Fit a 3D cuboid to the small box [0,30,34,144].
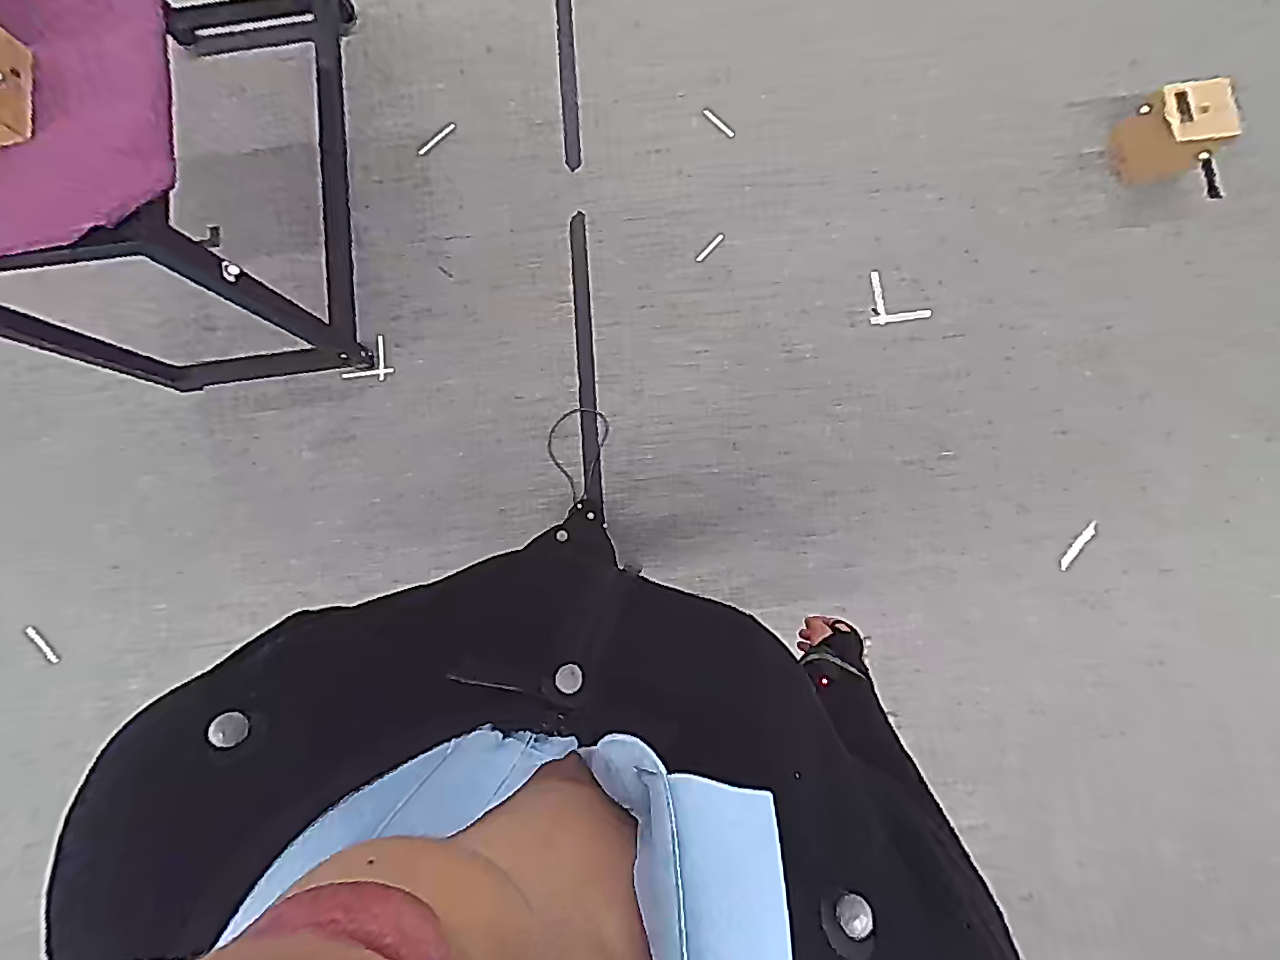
[{"bbox_3d":[-1.091,-0.631,0.811,0.179,0.176,0.168,-7,83,0],"label":"small box"}]
